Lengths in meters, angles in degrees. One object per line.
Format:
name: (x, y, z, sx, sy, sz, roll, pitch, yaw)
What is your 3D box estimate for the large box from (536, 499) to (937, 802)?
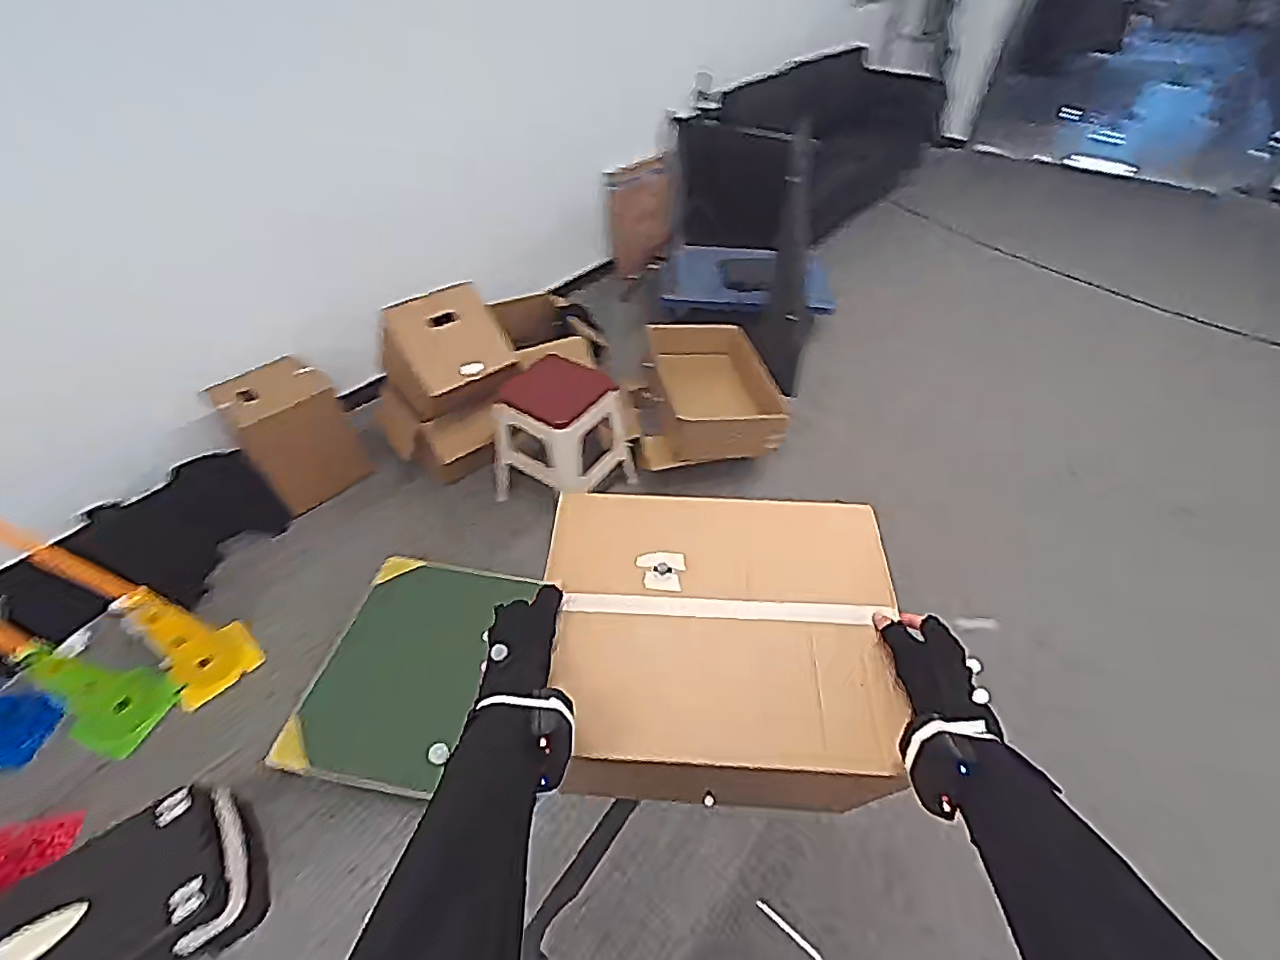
large box: (0.107, 0.242, 0.741, 0.408, 0.320, 0.320, 3, 53, 4)
